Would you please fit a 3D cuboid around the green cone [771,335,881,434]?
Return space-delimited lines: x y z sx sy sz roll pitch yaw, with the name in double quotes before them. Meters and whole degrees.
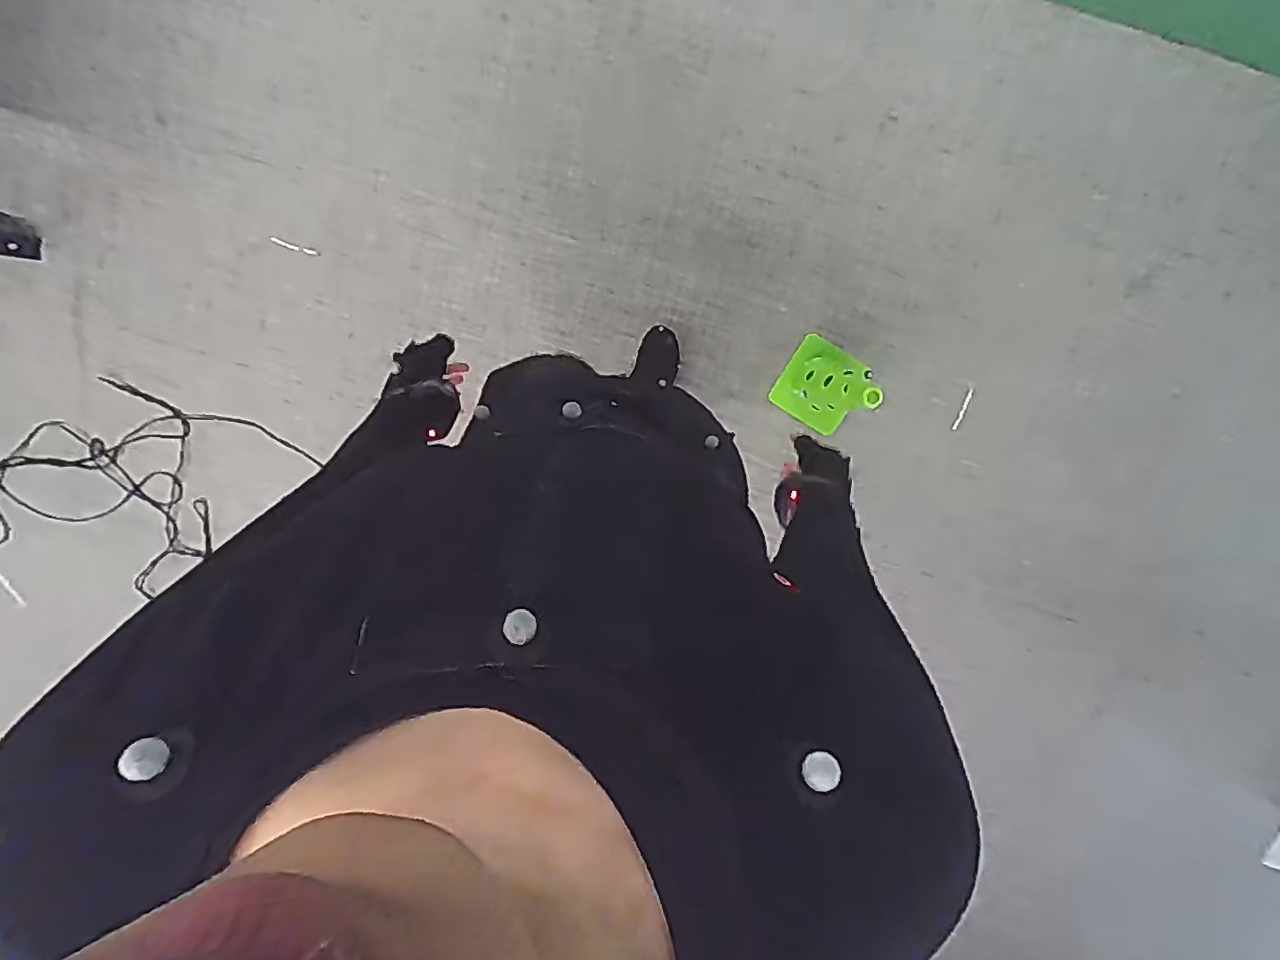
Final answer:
"green cone" 0.453 -0.204 1.214 0.200 0.368 0.202 29 103 -4
